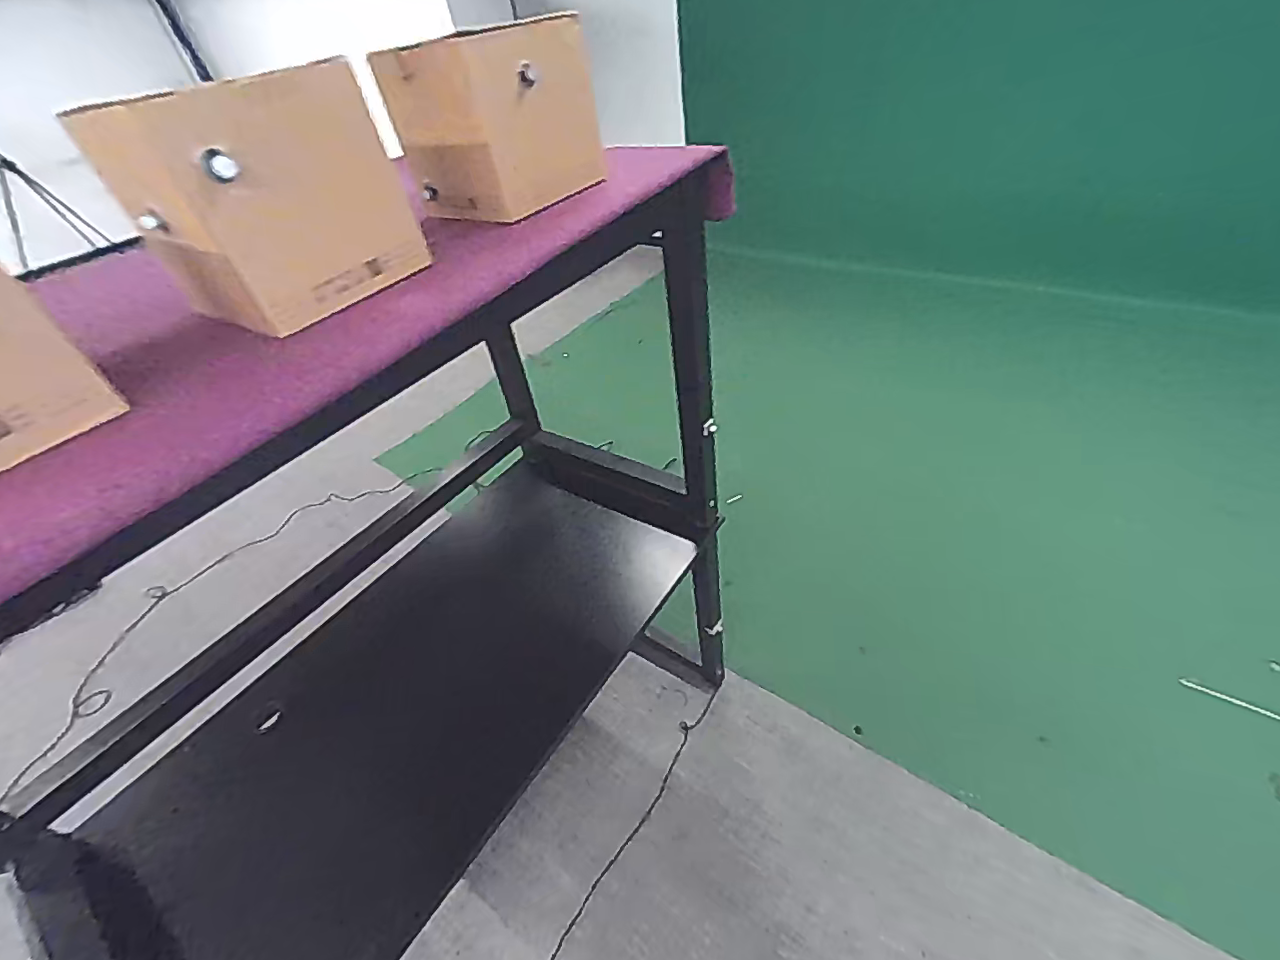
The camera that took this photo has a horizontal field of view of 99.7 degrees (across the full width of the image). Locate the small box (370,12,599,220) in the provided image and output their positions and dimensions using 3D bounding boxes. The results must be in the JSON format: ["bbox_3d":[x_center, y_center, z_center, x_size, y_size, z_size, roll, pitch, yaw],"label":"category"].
[{"bbox_3d":[-0.169,-0.423,0.642,0.168,0.176,0.179,20,49,31],"label":"small box"}]

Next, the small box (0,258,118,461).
[{"bbox_3d":[-0.485,-0.093,0.332,0.179,0.176,0.168,22,49,32],"label":"small box"}]
